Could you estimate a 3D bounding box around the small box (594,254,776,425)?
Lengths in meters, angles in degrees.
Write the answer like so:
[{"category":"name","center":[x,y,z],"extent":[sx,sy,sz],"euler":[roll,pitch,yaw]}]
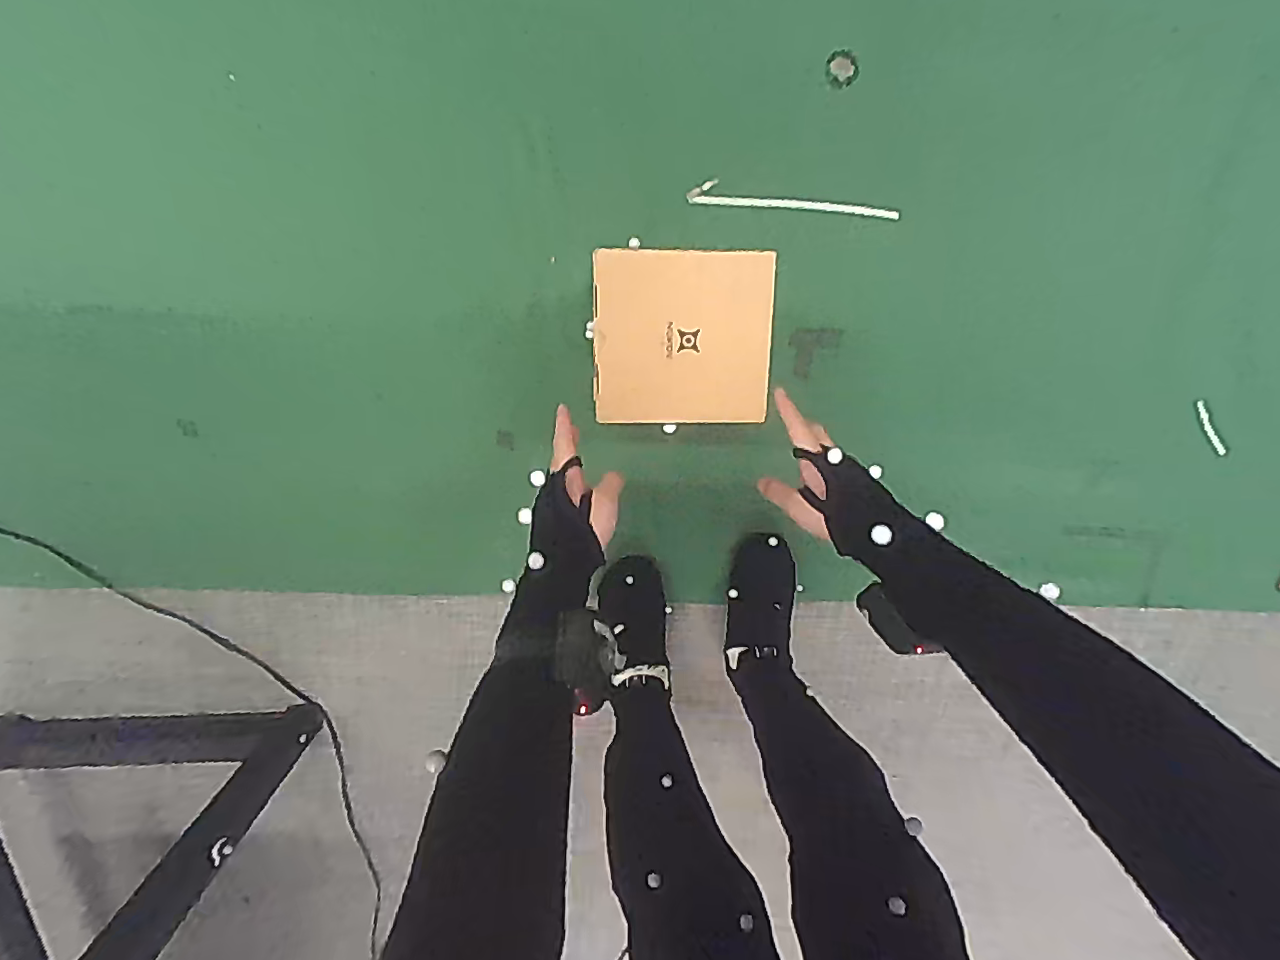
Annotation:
[{"category":"small box","center":[0.042,-0.158,0.609],"extent":[0.179,0.176,0.168],"euler":[0,106,0]}]
